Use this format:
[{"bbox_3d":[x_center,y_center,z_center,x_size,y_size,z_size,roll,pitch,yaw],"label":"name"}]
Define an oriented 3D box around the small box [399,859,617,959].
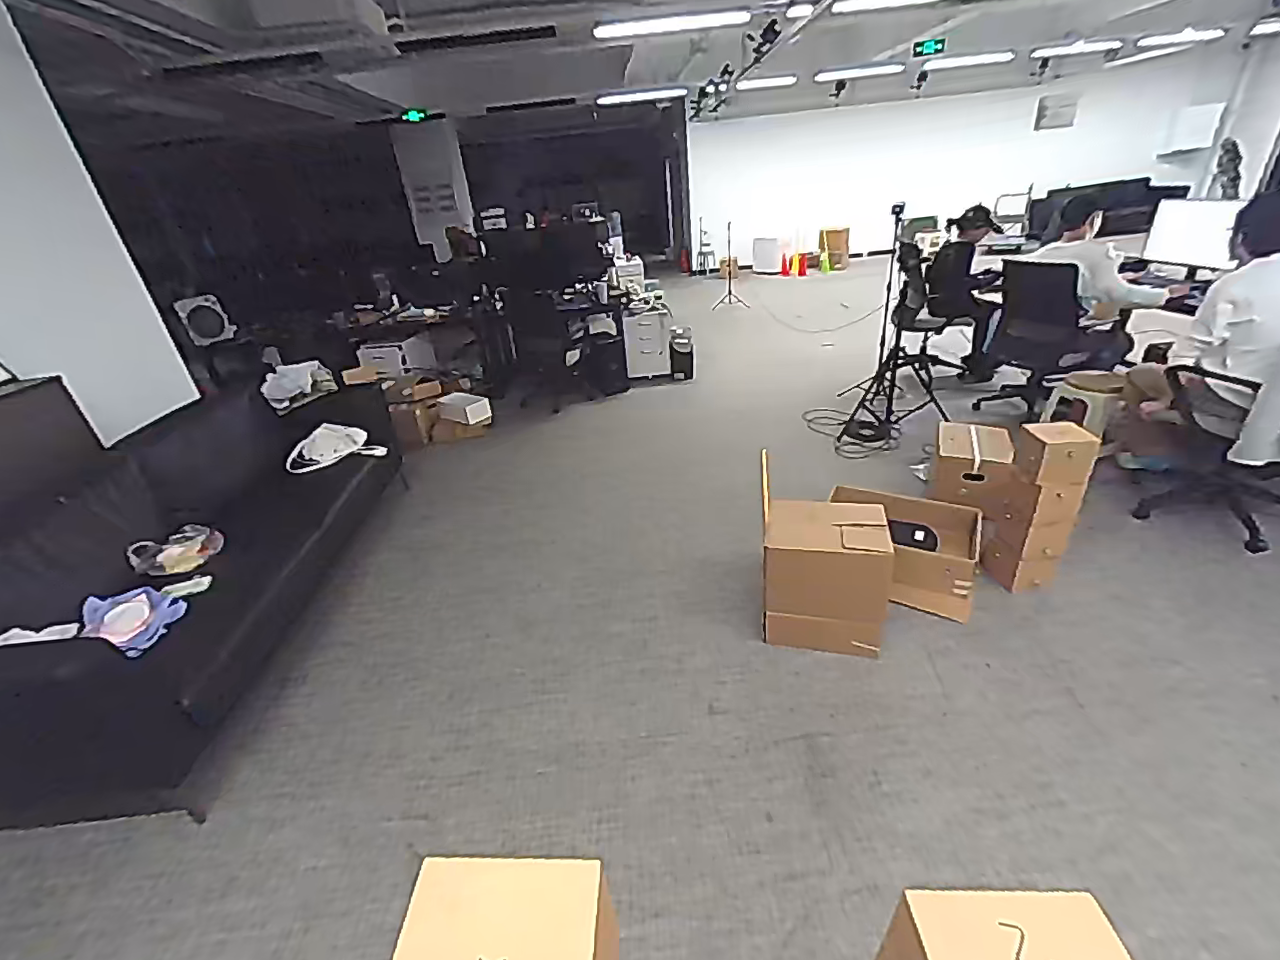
[{"bbox_3d":[-0.111,0.461,0.464,0.168,0.176,0.179,-1,36,4],"label":"small box"}]
